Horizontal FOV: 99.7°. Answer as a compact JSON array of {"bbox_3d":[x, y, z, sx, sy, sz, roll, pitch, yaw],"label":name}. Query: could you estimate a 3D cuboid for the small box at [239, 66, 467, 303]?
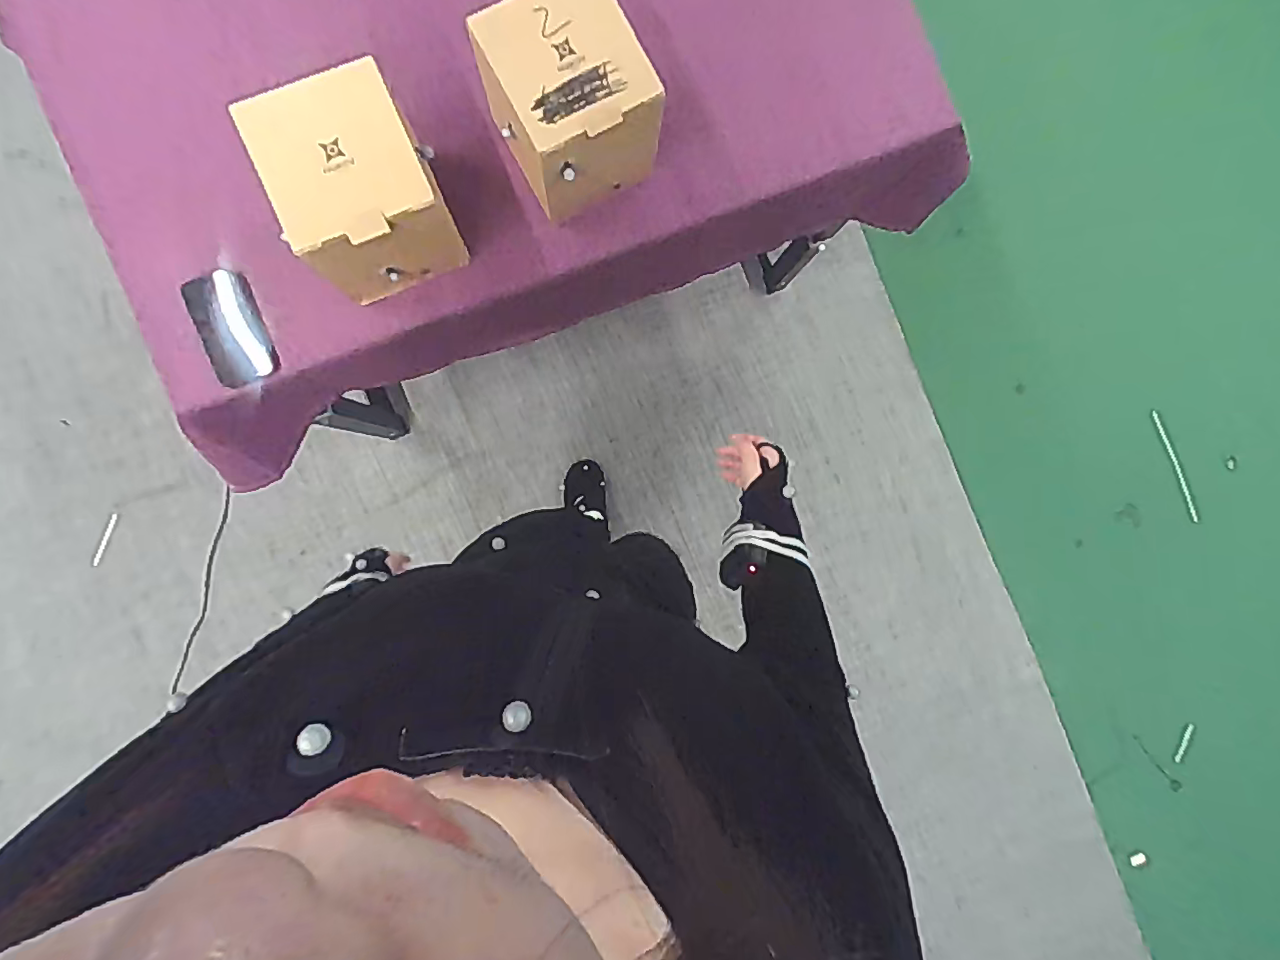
[{"bbox_3d":[-0.341,-0.354,0.680,0.168,0.176,0.179,-24,92,-5],"label":"small box"}]
